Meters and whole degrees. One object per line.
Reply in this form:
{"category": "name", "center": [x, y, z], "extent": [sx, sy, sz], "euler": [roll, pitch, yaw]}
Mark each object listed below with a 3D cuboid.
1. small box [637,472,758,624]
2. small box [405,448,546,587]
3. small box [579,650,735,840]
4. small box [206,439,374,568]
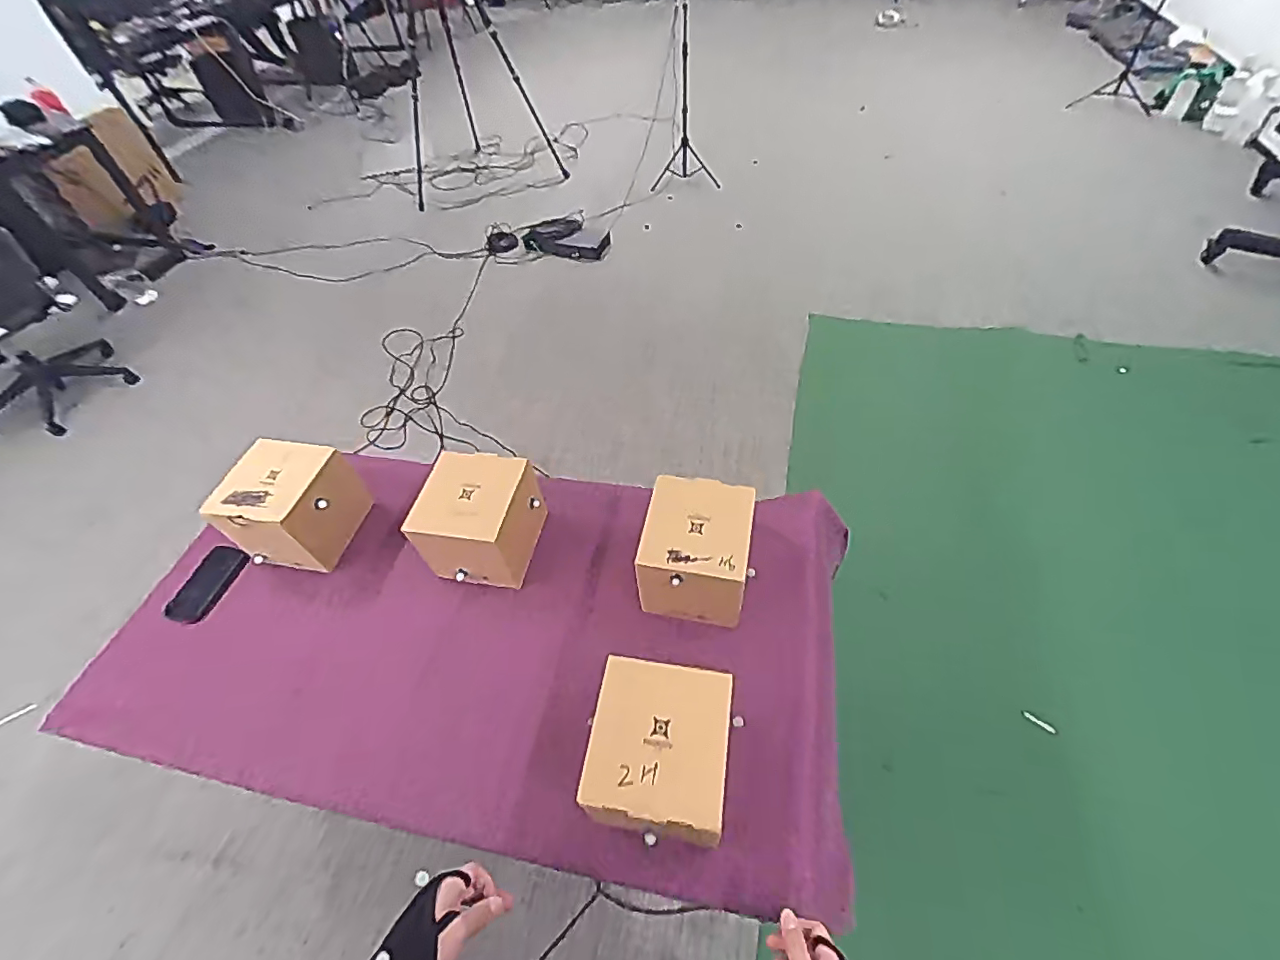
{"category": "small box", "center": [0.098, 0.113, 0.899], "extent": [0.168, 0.176, 0.179], "euler": [7, 53, 12]}
{"category": "small box", "center": [-0.281, 0.068, 0.973], "extent": [0.168, 0.176, 0.179], "euler": [6, 53, 11]}
{"category": "small box", "center": [0.031, 0.350, 0.712], "extent": [0.168, 0.176, 0.179], "euler": [5, 53, 11]}
{"category": "small box", "center": [-0.643, 0.047, 1.023], "extent": [0.168, 0.176, 0.179], "euler": [7, 52, 10]}
